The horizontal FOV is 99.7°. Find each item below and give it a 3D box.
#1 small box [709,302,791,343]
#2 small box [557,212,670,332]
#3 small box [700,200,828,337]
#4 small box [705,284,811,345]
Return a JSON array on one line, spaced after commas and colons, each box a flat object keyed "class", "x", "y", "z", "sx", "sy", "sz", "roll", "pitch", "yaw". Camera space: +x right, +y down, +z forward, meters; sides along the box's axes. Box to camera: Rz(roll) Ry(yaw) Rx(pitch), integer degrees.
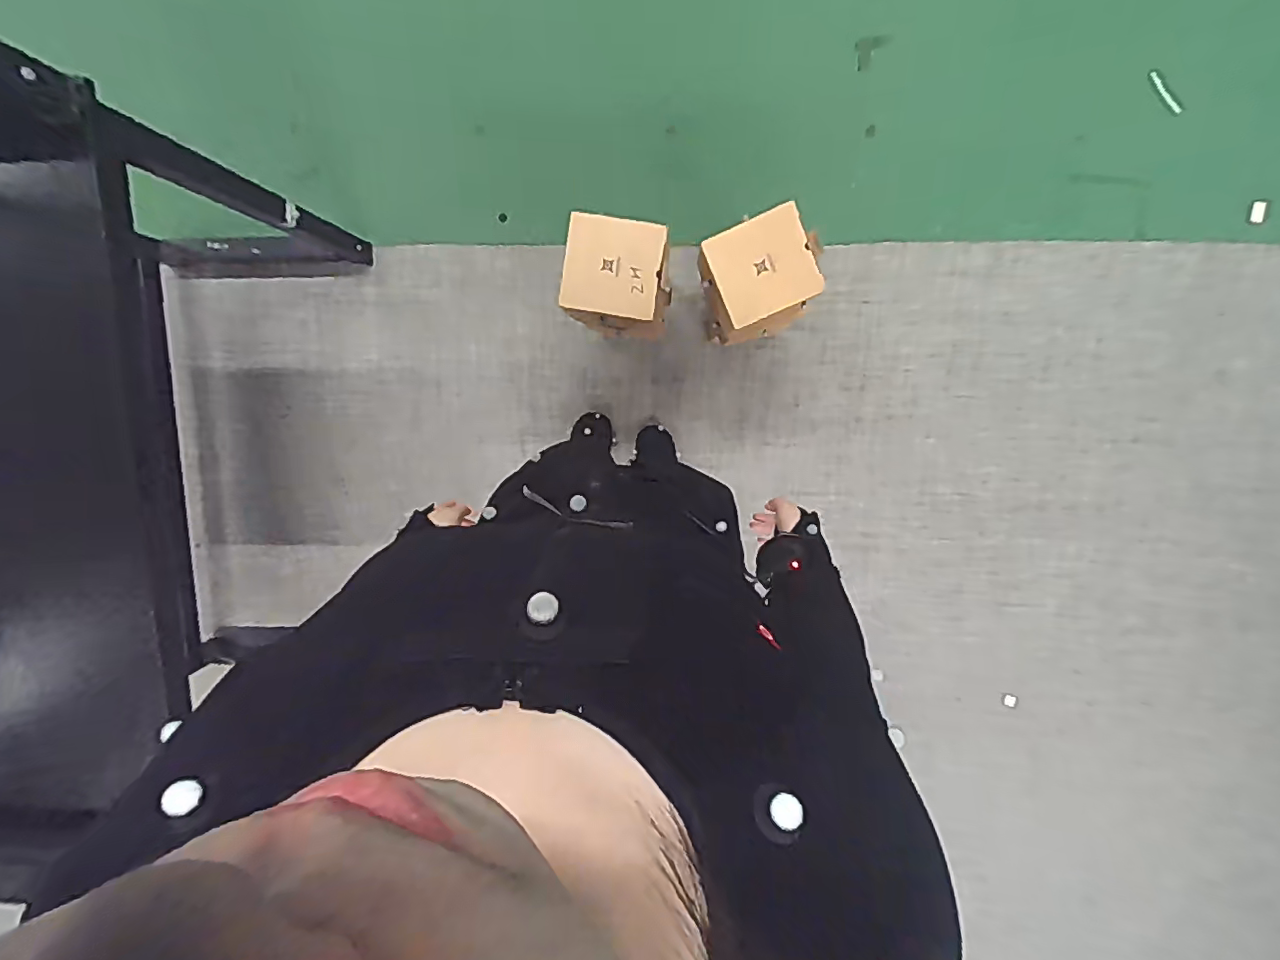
[{"class": "small box", "x": 0.262, "y": -0.436, "z": 1.329, "sx": 0.179, "sy": 0.176, "sz": 0.168, "roll": -6, "pitch": 99, "yaw": 3}, {"class": "small box", "x": -0.043, "y": -0.382, "z": 1.020, "sx": 0.179, "sy": 0.176, "sz": 0.168, "roll": 10, "pitch": 99, "yaw": 2}, {"class": "small box", "x": 0.221, "y": -0.380, "z": 1.011, "sx": 0.179, "sy": 0.176, "sz": 0.168, "roll": -24, "pitch": 98, "yaw": 6}, {"class": "small box", "x": 0.245, "y": -0.401, "z": 1.172, "sx": 0.179, "sy": 0.176, "sz": 0.168, "roll": -19, "pitch": 99, "yaw": 5}]
